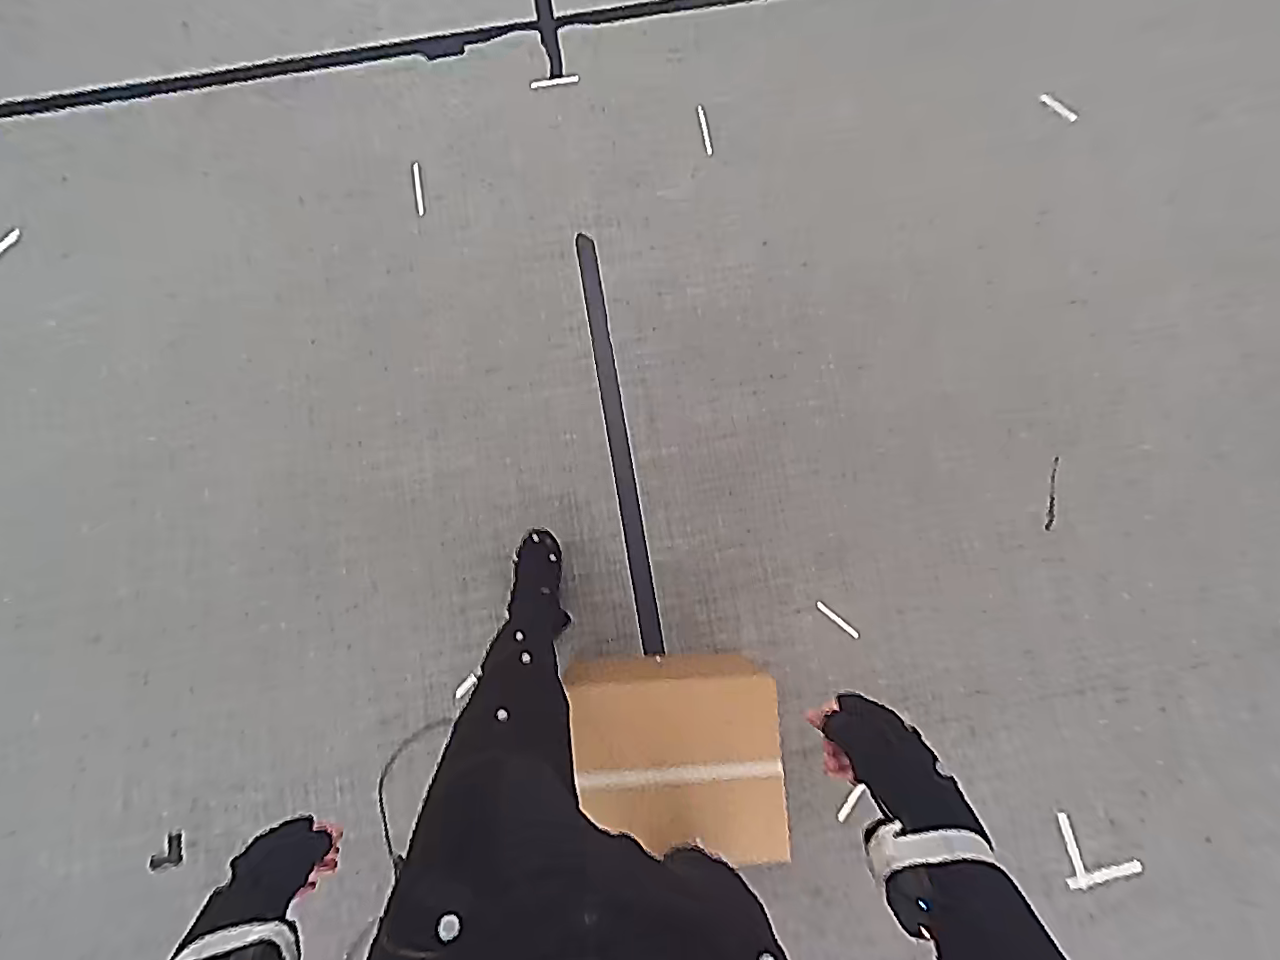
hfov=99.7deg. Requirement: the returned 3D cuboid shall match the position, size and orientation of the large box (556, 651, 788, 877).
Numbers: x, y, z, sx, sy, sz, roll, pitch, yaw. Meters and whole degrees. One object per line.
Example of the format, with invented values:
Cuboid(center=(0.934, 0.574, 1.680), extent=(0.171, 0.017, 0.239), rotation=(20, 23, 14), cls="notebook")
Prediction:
Cuboid(center=(0.051, 0.545, 1.110), extent=(0.408, 0.320, 0.320), rotation=(-3, 81, -3), cls="large box")
